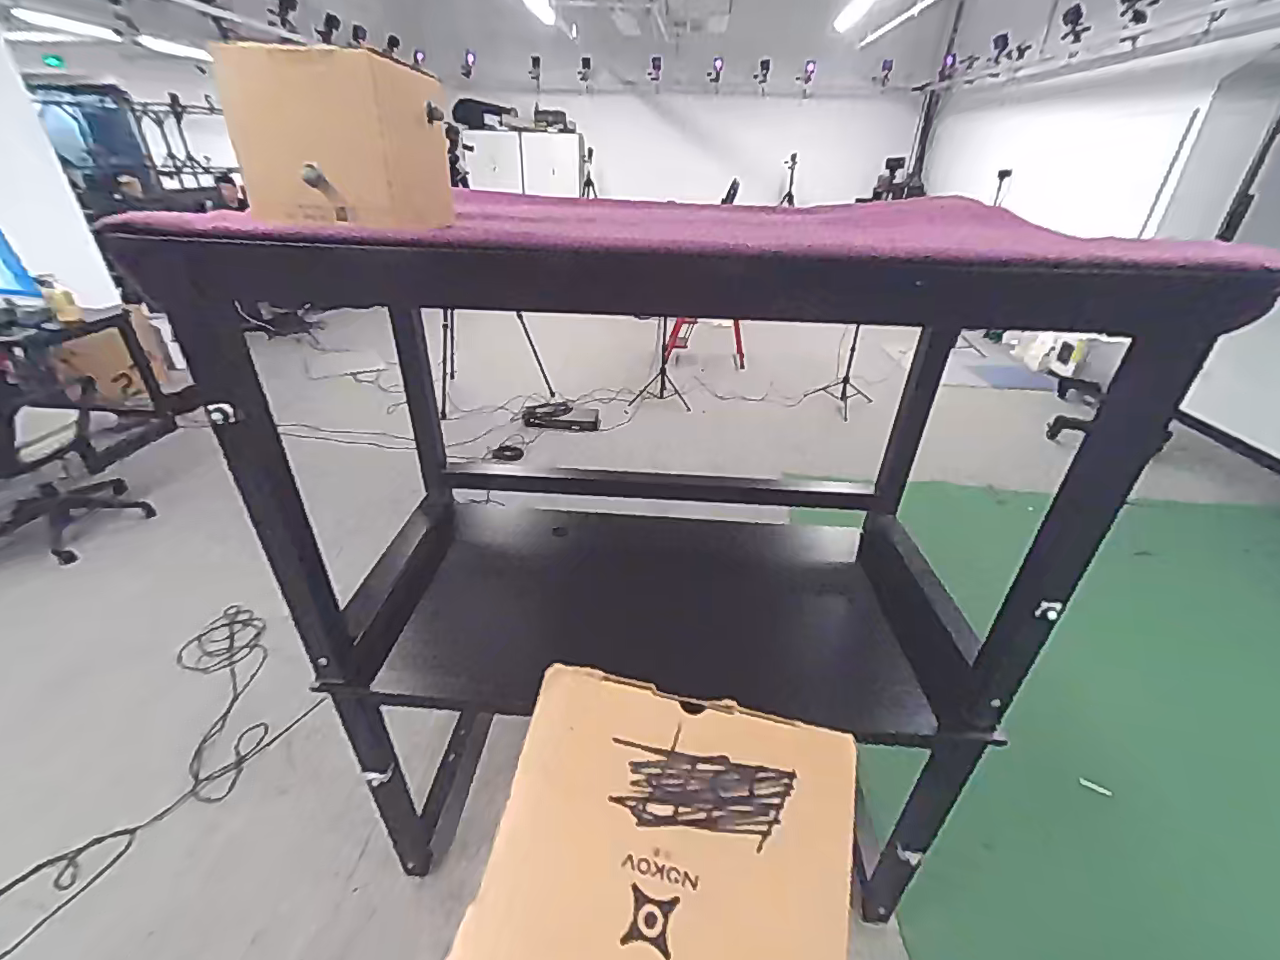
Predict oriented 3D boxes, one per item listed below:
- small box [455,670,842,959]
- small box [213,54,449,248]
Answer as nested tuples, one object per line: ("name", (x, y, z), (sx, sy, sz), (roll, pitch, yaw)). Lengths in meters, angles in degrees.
("small box", (0.013, 0.236, 0.325), (0.168, 0.176, 0.179), (9, 62, 13))
("small box", (-0.338, -0.378, 0.637), (0.168, 0.176, 0.179), (4, 30, 3))
